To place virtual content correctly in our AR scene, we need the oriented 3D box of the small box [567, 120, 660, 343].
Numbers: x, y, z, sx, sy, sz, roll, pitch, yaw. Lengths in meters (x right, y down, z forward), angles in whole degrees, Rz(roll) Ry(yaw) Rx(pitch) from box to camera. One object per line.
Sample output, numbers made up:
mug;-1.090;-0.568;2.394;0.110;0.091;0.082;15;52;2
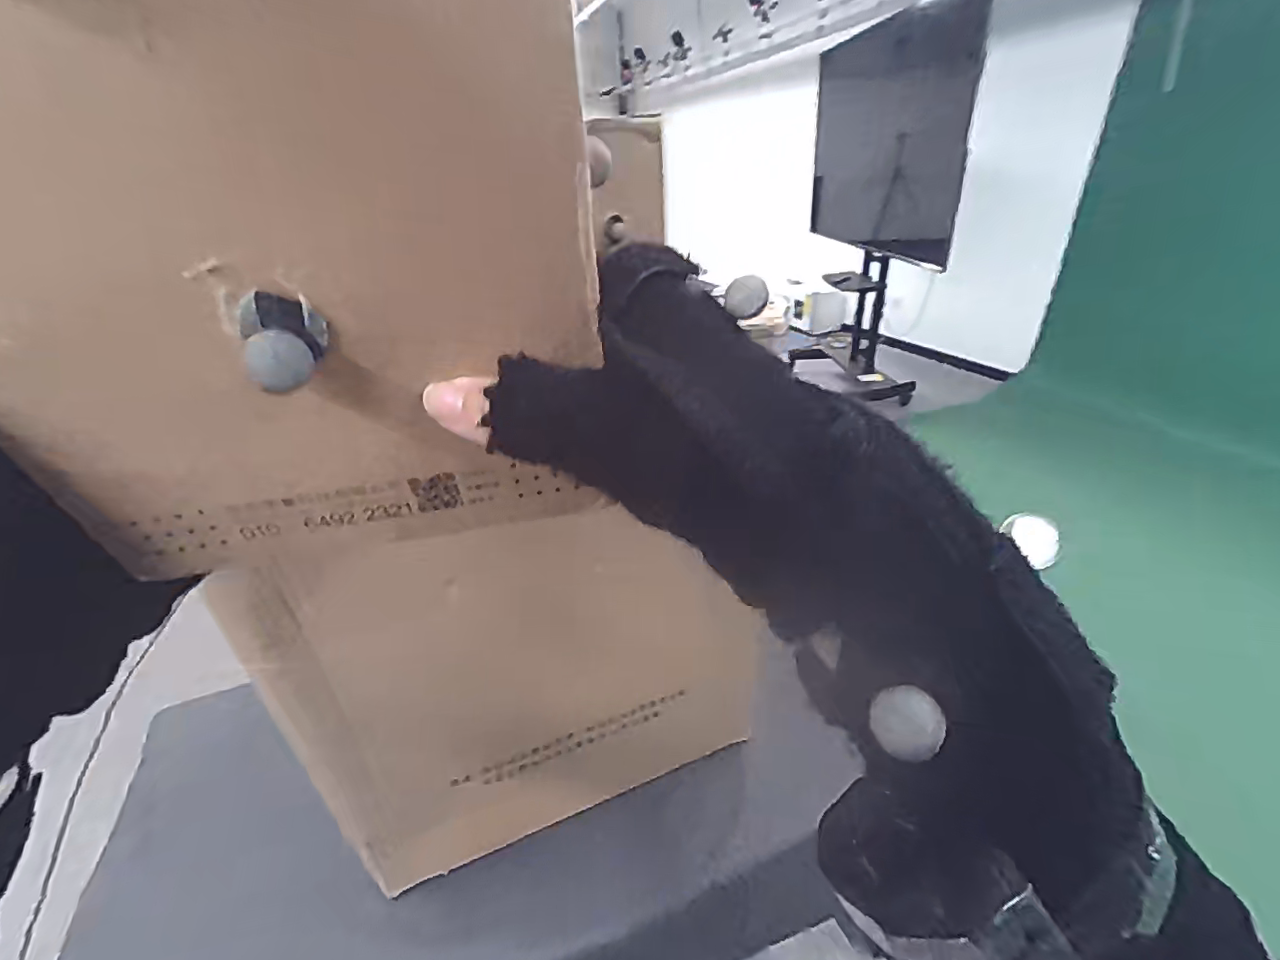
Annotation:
small box;-0.086;-0.223;0.496;0.168;0.176;0.179;-13;32;-19
